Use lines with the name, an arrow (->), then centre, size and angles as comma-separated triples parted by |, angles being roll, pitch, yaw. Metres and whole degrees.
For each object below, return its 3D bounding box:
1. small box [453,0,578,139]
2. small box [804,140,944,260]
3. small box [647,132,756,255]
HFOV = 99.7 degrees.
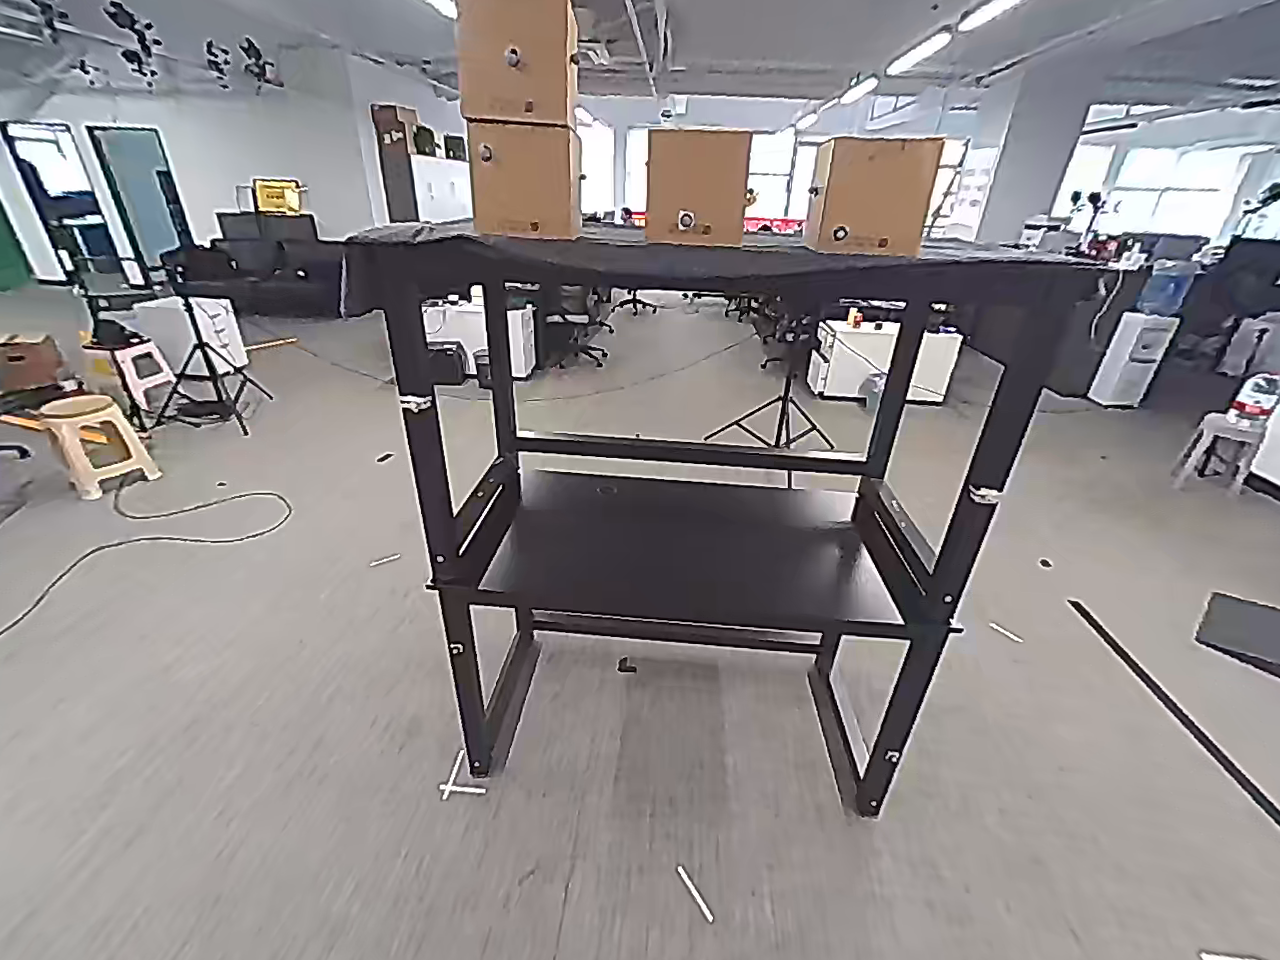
small box -> -0.188, -0.656, 0.870 | 0.168, 0.176, 0.179 | 3, 27, -4
small box -> 0.387, -0.476, 0.928 | 0.168, 0.176, 0.179 | 5, 27, 5
small box -> 0.104, -0.491, 0.938 | 0.168, 0.176, 0.179 | 4, 27, 6
